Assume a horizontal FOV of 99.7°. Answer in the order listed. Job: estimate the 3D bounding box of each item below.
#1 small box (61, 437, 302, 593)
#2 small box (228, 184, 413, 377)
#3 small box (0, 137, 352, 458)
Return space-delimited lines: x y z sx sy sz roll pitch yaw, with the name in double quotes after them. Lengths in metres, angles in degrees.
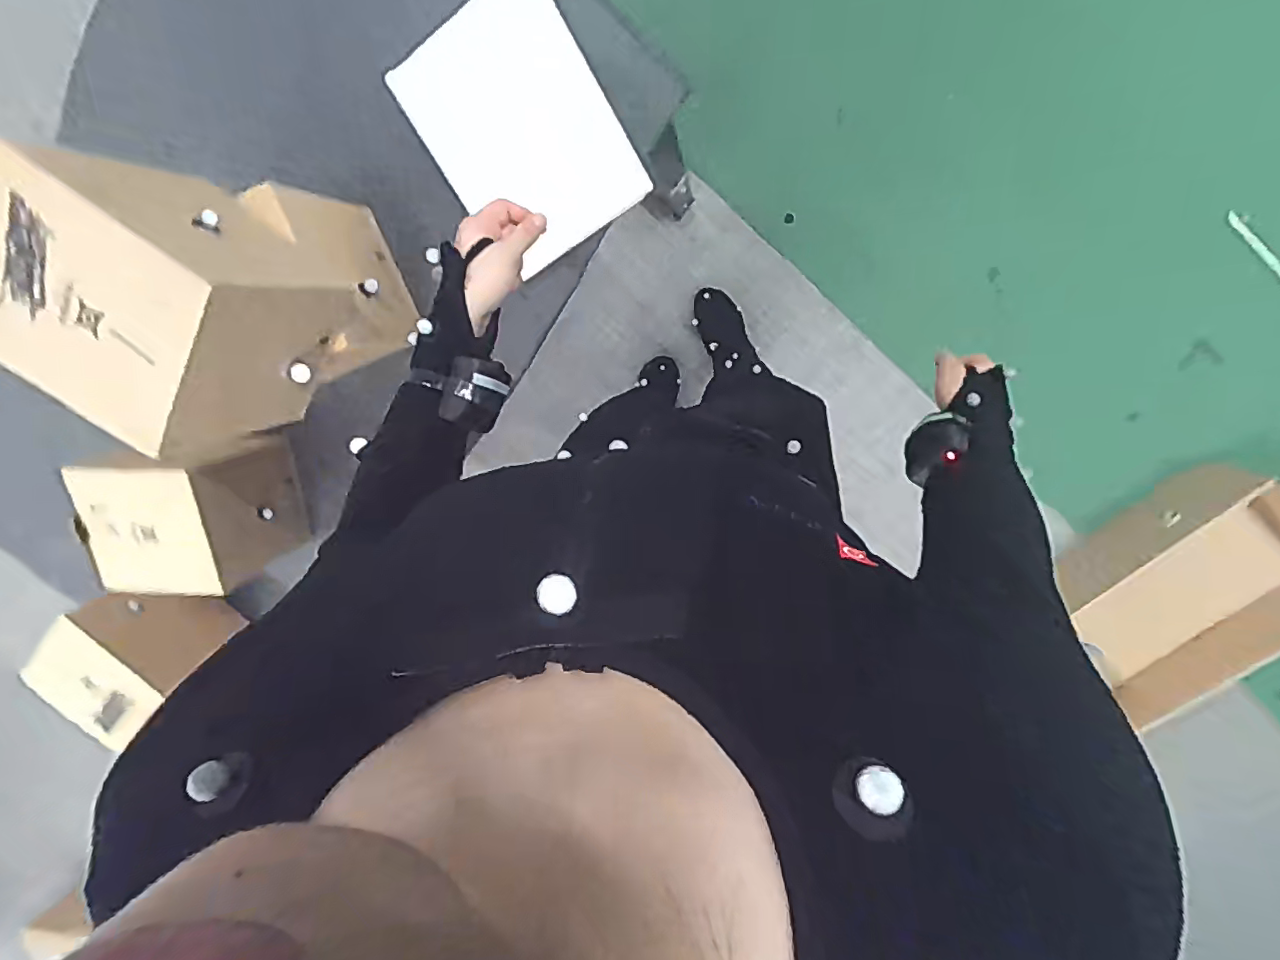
-0.601 0.039 0.741 0.179 0.176 0.168 1 109 7 "small box"
-0.396 -0.213 0.627 0.179 0.176 0.168 -18 106 14 "small box"
-0.403 -0.151 0.475 0.179 0.176 0.168 35 111 -5 "small box"
